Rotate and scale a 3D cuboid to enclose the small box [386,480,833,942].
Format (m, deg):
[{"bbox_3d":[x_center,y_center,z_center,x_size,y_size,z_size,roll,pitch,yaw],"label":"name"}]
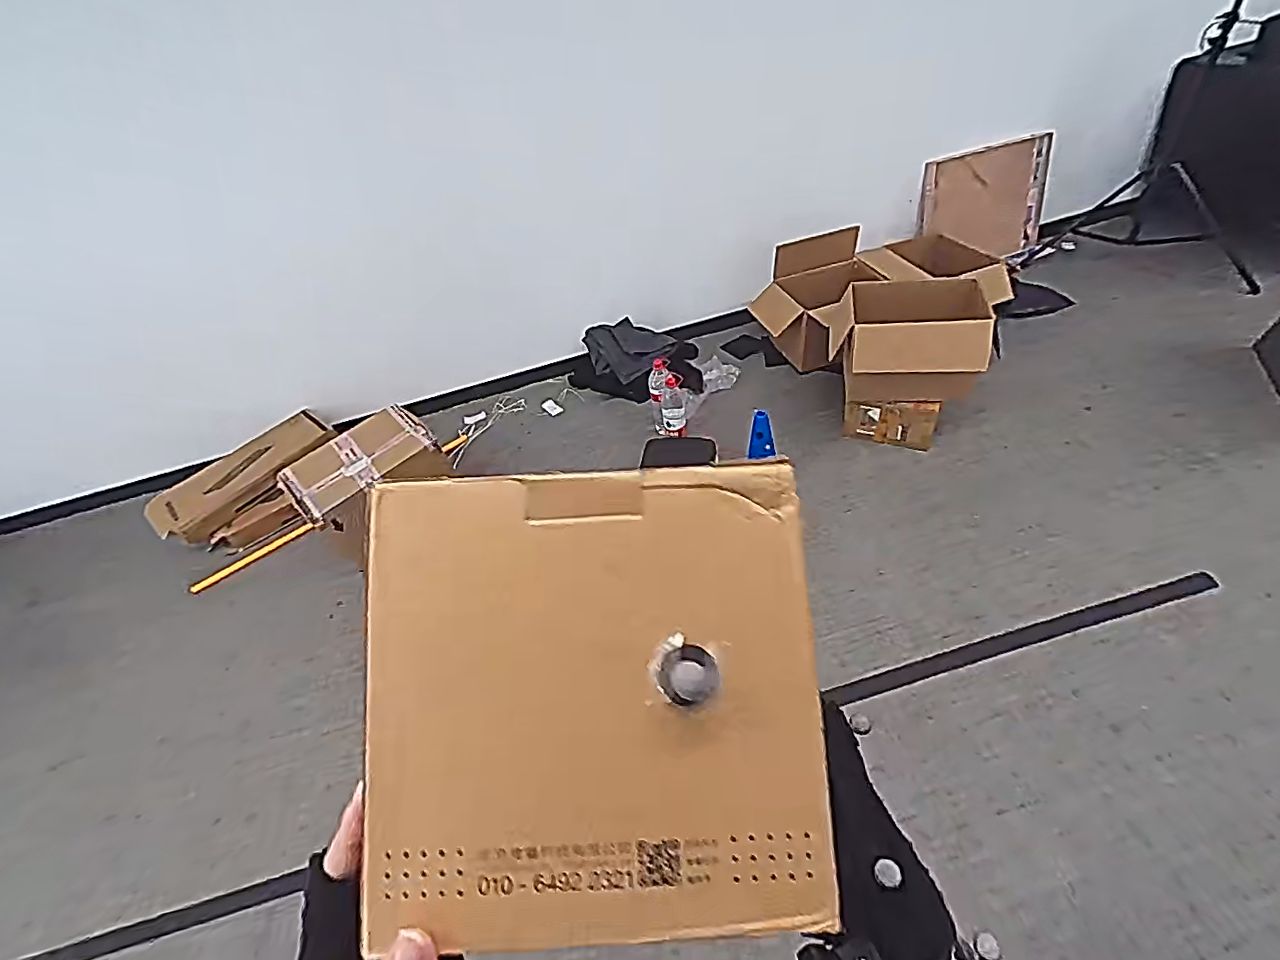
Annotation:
[{"bbox_3d":[-0.011,0.097,0.282,0.168,0.179,0.176,-2,82,0],"label":"small box"}]
